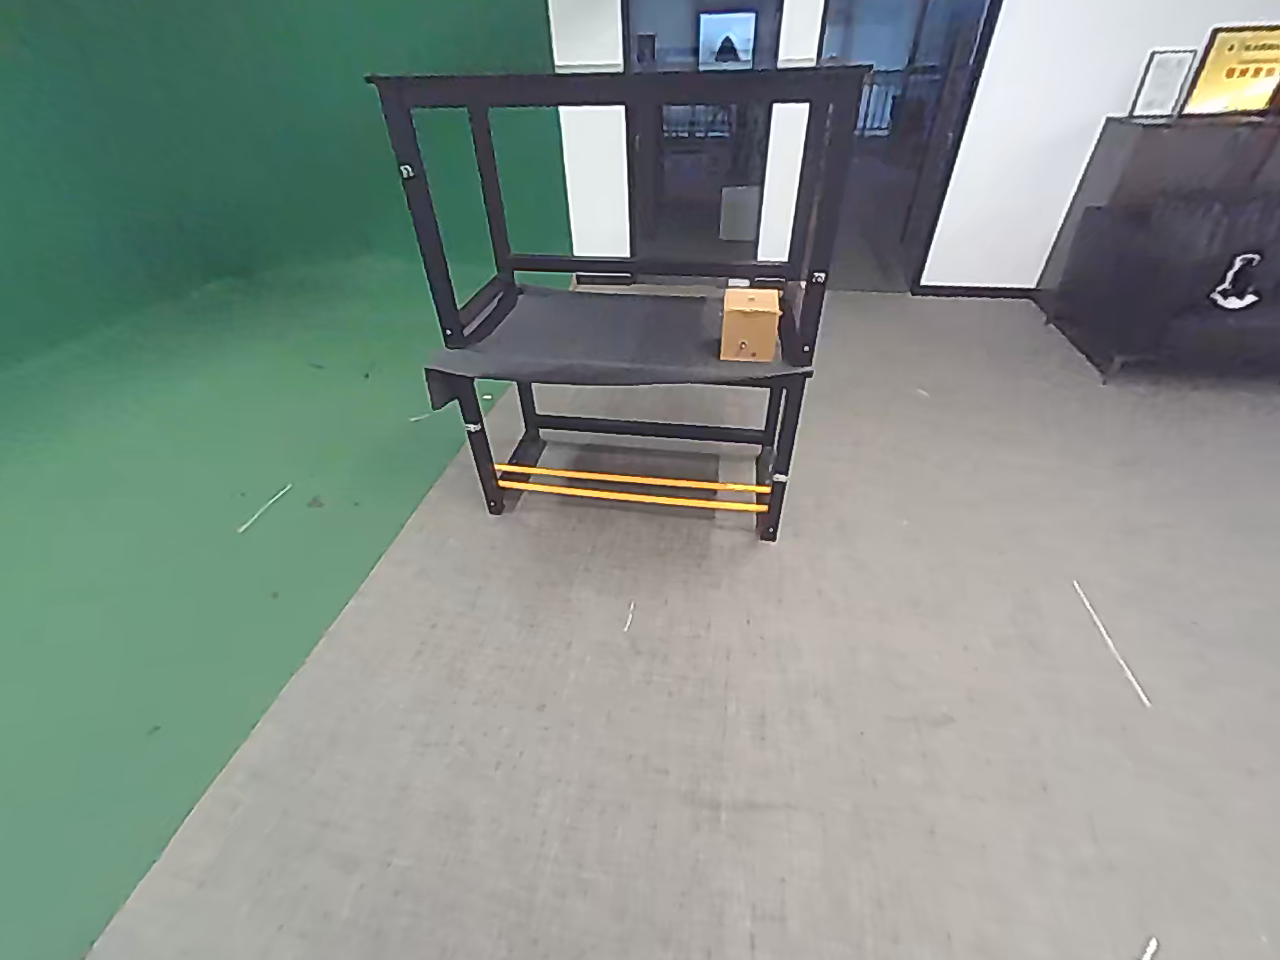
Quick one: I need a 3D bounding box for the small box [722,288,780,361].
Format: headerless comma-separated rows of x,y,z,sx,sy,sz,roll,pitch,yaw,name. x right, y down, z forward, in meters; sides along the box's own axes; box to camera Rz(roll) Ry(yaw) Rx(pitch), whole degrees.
0.347,-0.492,1.707,0.168,0.176,0.179,4,39,9,small box
